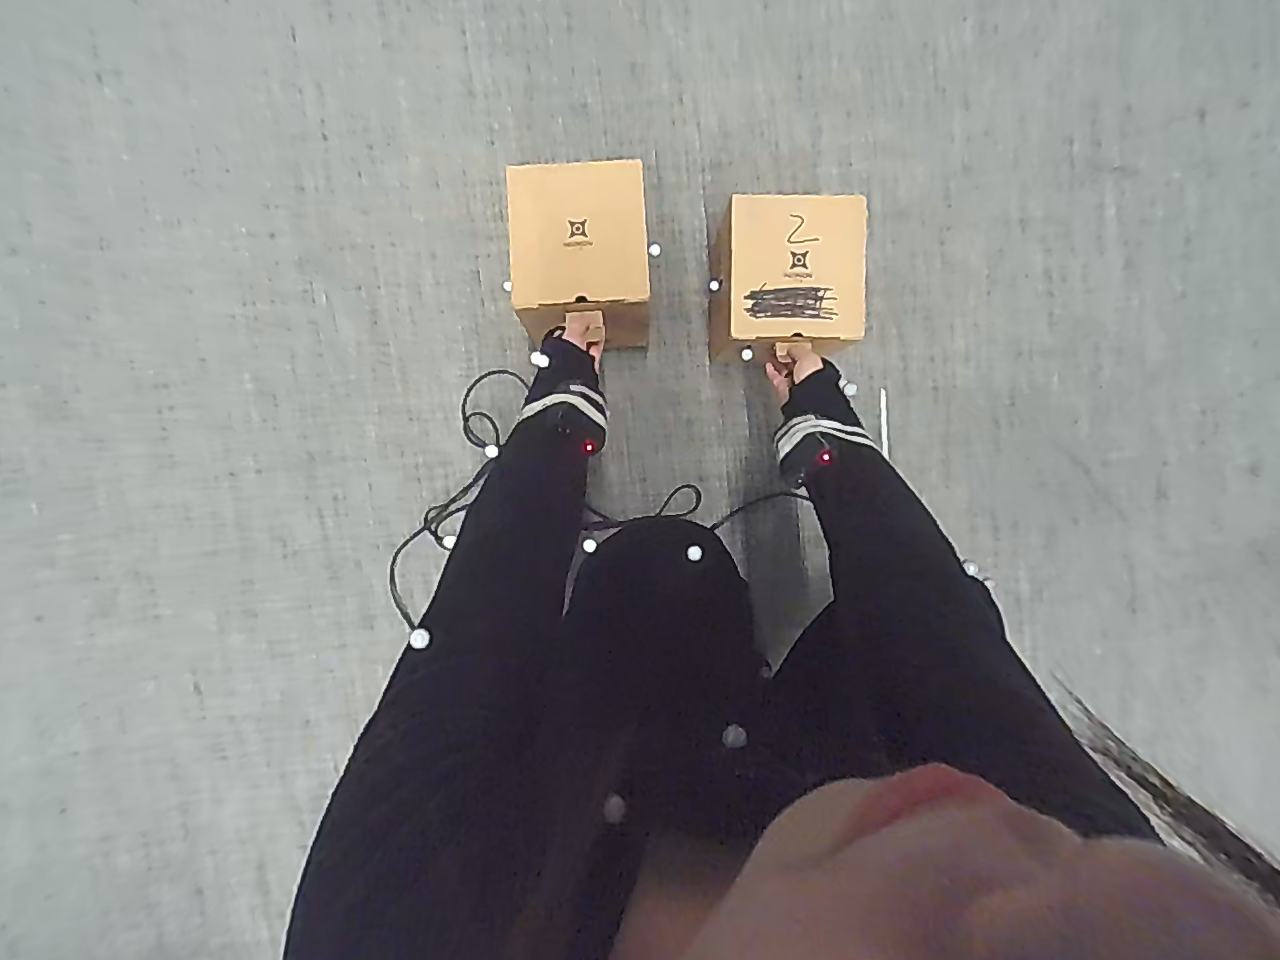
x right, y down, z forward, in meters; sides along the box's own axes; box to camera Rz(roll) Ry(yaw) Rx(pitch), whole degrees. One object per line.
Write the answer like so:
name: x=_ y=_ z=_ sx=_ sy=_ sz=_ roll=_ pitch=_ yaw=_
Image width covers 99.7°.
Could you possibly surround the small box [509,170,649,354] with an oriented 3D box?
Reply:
small box: x=-0.076 y=-0.283 z=0.730 sx=0.168 sy=0.176 sz=0.179 roll=-3 pitch=86 yaw=0
